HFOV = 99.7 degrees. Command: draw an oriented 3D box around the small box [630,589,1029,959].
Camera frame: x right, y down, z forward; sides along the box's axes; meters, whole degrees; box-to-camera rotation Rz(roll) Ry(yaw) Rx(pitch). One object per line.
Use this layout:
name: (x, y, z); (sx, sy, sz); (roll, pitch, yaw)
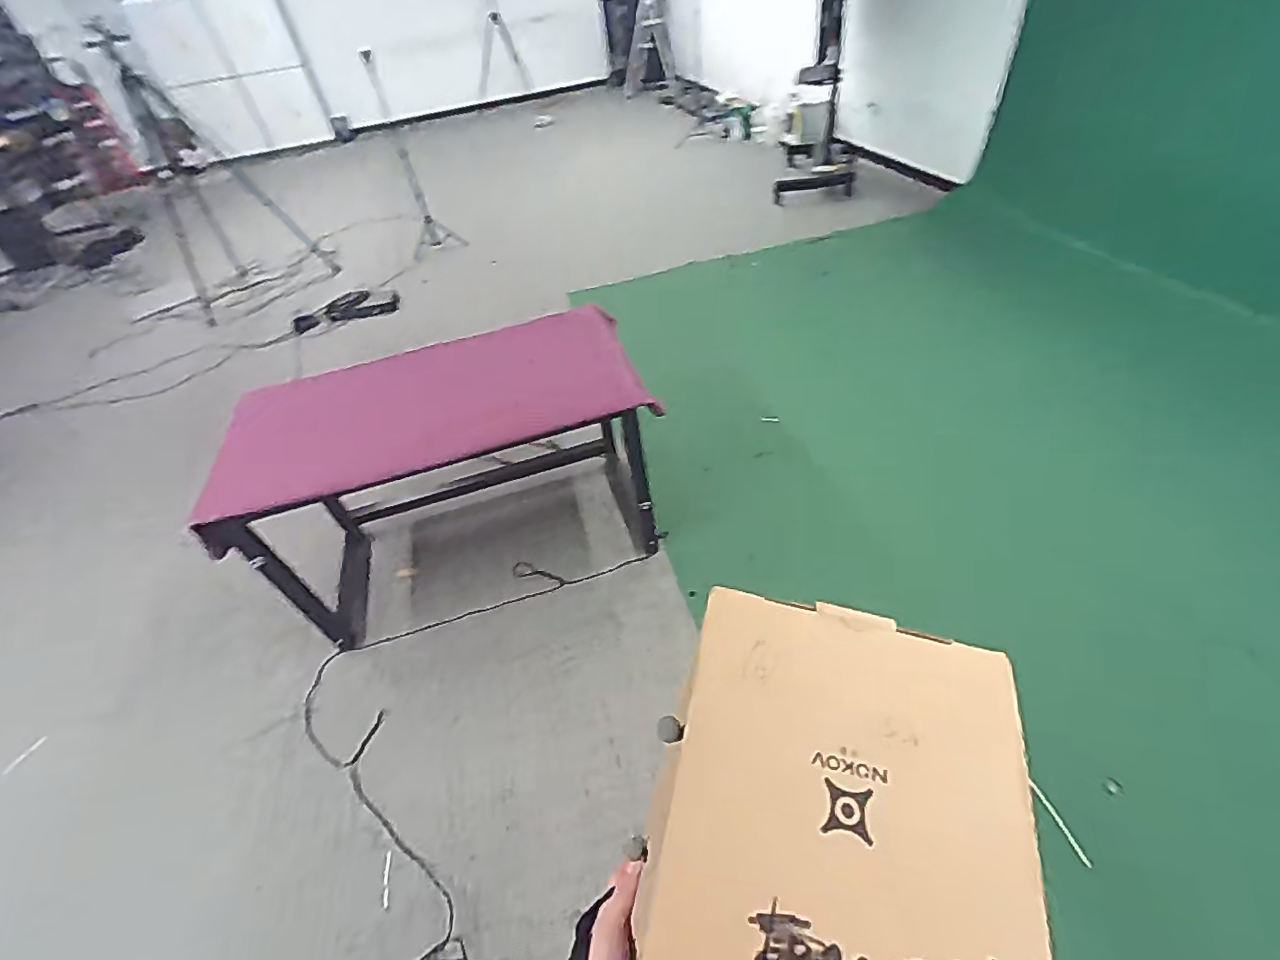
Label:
small box: (0.092, 0.195, 0.326); (0.168, 0.176, 0.179); (12, 56, 8)
